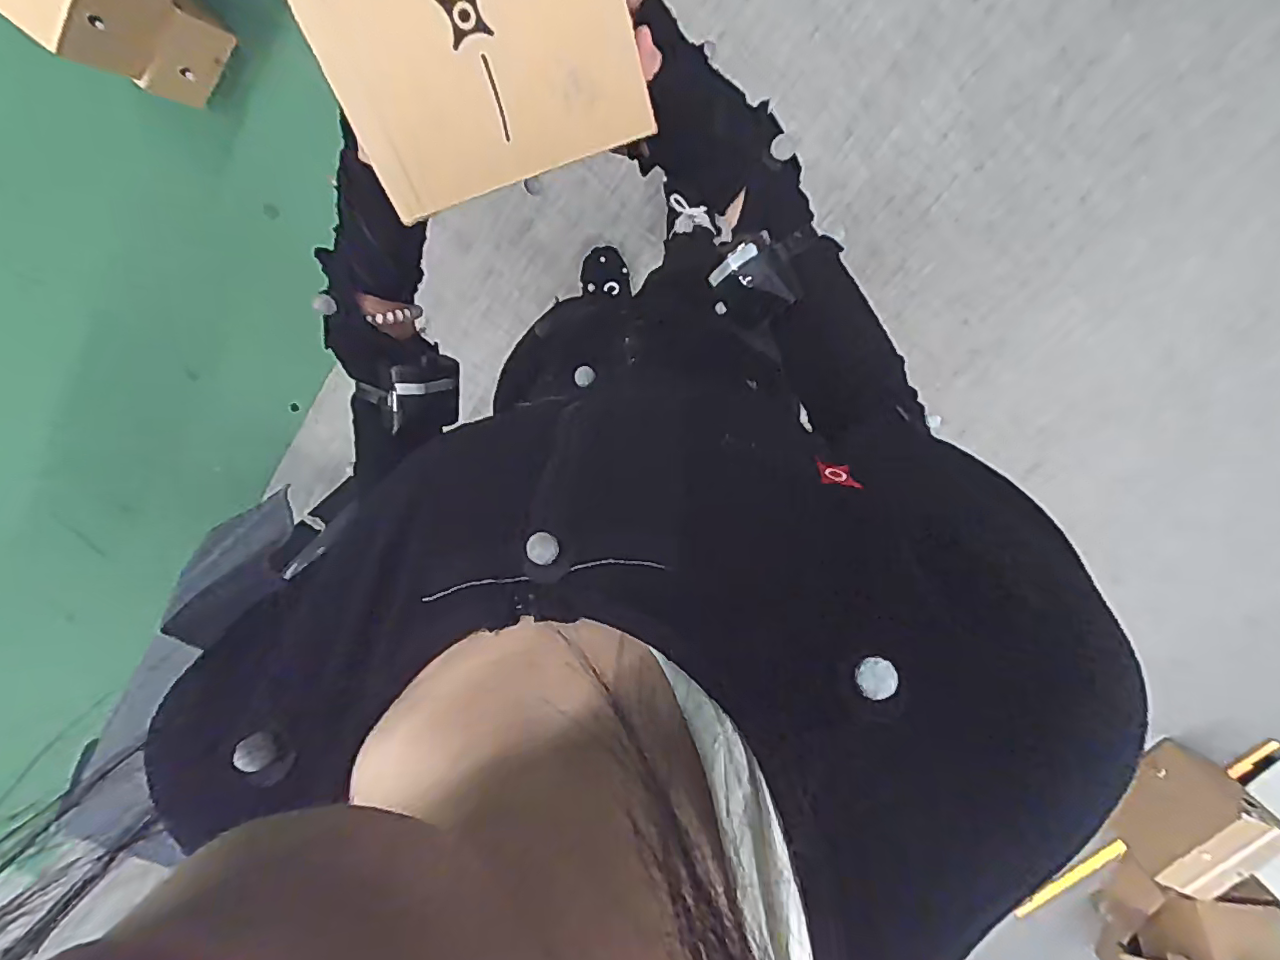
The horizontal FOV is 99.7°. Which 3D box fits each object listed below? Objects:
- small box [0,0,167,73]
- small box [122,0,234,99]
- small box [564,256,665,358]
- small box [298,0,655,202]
[{"bbox_3d":[-0.948,-0.828,0.895,0.168,0.176,0.179,39,108,-17],"label":"small box"},{"bbox_3d":[-0.951,-0.884,1.051,0.179,0.176,0.168,40,107,-17],"label":"small box"},{"bbox_3d":[-0.066,-0.421,1.311,0.179,0.176,0.168,33,122,1],"label":"small box"},{"bbox_3d":[-0.101,-0.298,0.339,0.168,0.176,0.179,-17,124,3],"label":"small box"}]
